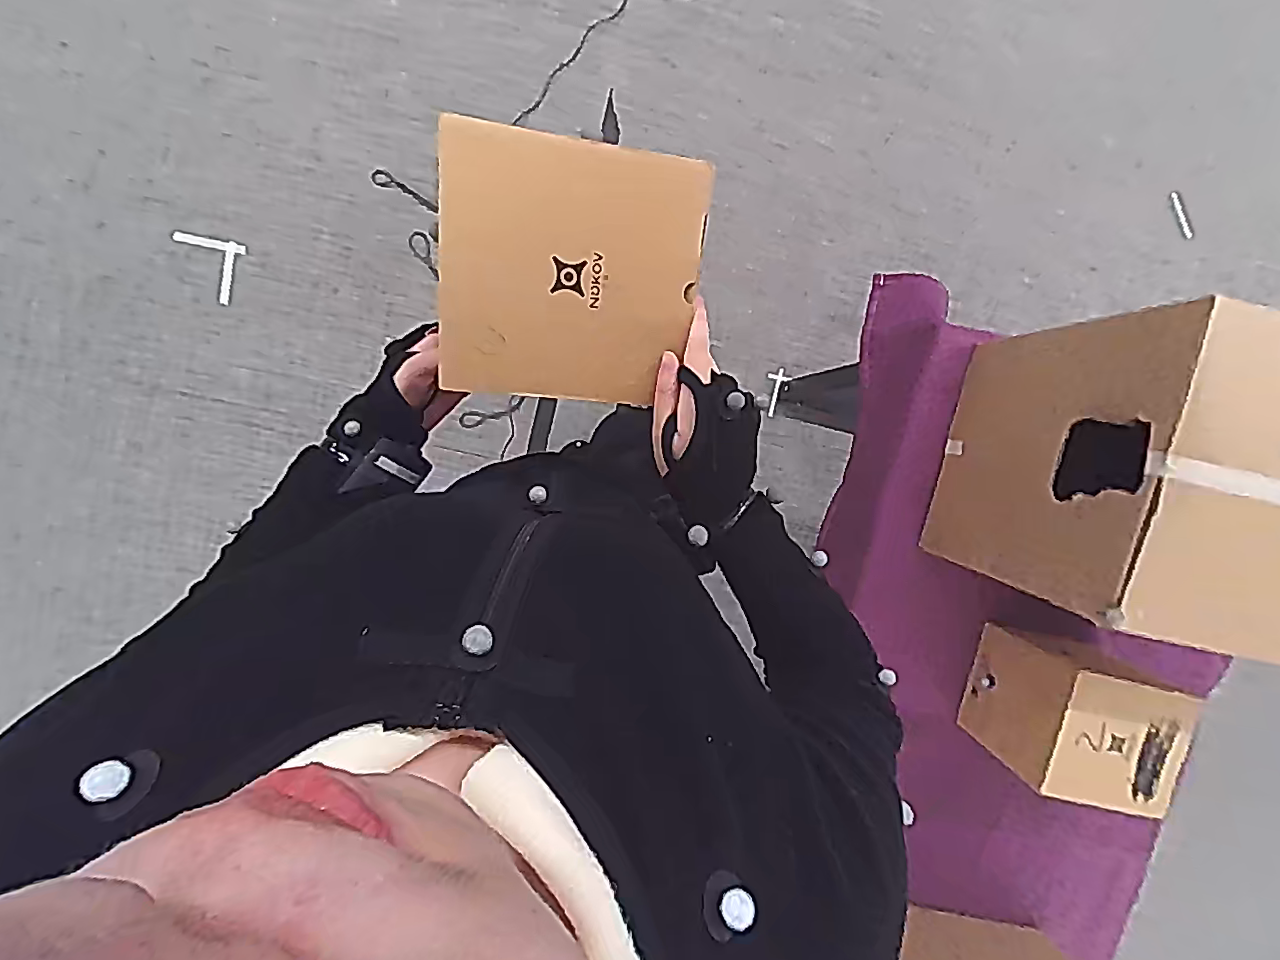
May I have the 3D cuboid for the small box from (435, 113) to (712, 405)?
[{"bbox_3d":[-0.062,-0.162,0.437,0.179,0.176,0.168,2,108,-14],"label":"small box"}]
